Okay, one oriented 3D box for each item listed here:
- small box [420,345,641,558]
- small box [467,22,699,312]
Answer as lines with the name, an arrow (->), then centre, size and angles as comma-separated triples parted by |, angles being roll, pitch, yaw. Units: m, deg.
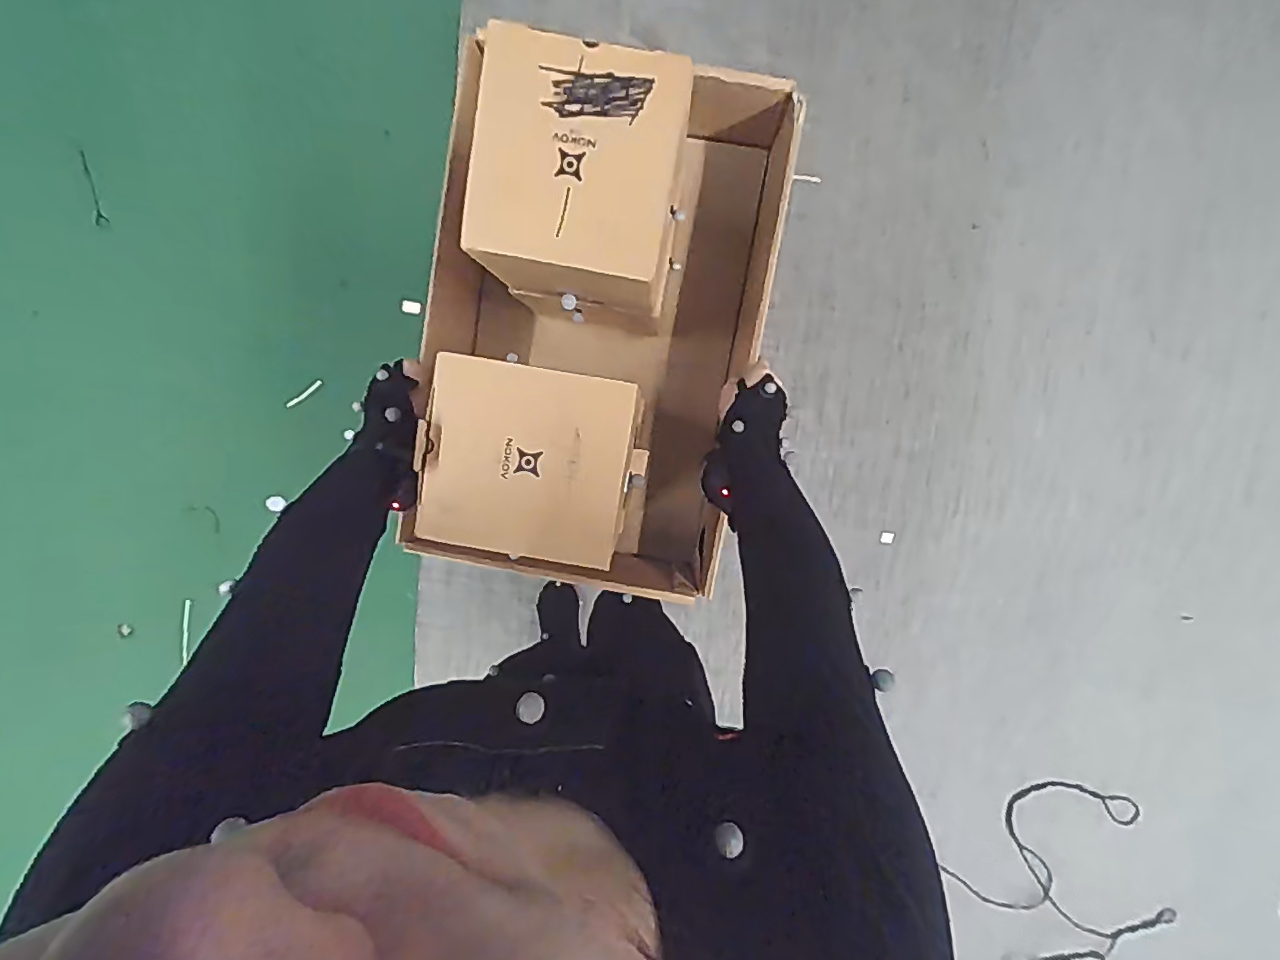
small box -> -0.097, -0.031, 0.553 | 0.179, 0.176, 0.168 | 9, 96, -1
small box -> -0.049, -0.277, 0.522 | 0.168, 0.176, 0.179 | 12, 99, -1
